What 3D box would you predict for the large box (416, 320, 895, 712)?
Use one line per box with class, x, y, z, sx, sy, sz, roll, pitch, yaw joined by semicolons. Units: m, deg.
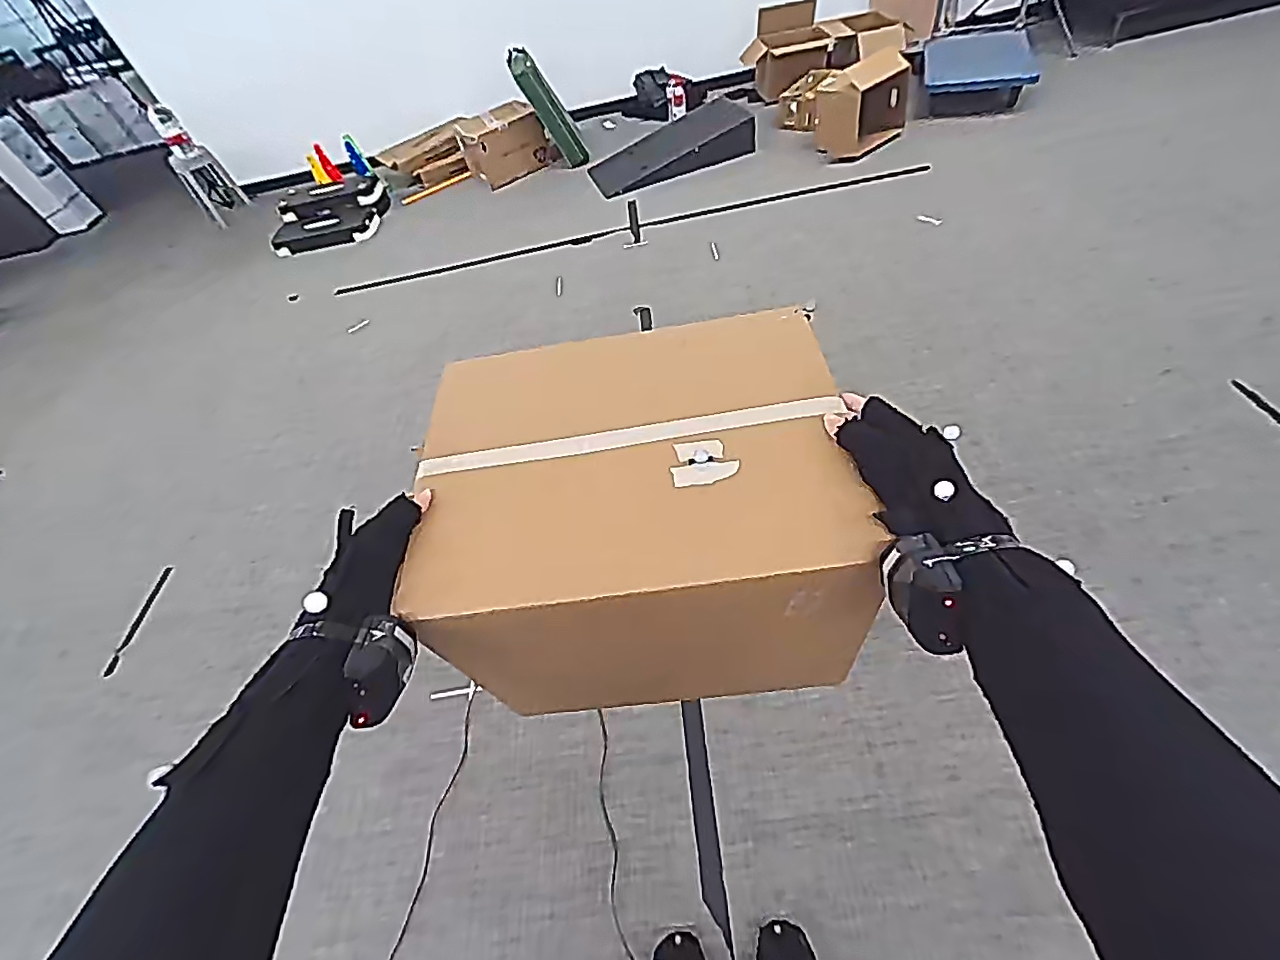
large box;0.015;0.057;0.643;0.408;0.320;0.320;-8;53;4
